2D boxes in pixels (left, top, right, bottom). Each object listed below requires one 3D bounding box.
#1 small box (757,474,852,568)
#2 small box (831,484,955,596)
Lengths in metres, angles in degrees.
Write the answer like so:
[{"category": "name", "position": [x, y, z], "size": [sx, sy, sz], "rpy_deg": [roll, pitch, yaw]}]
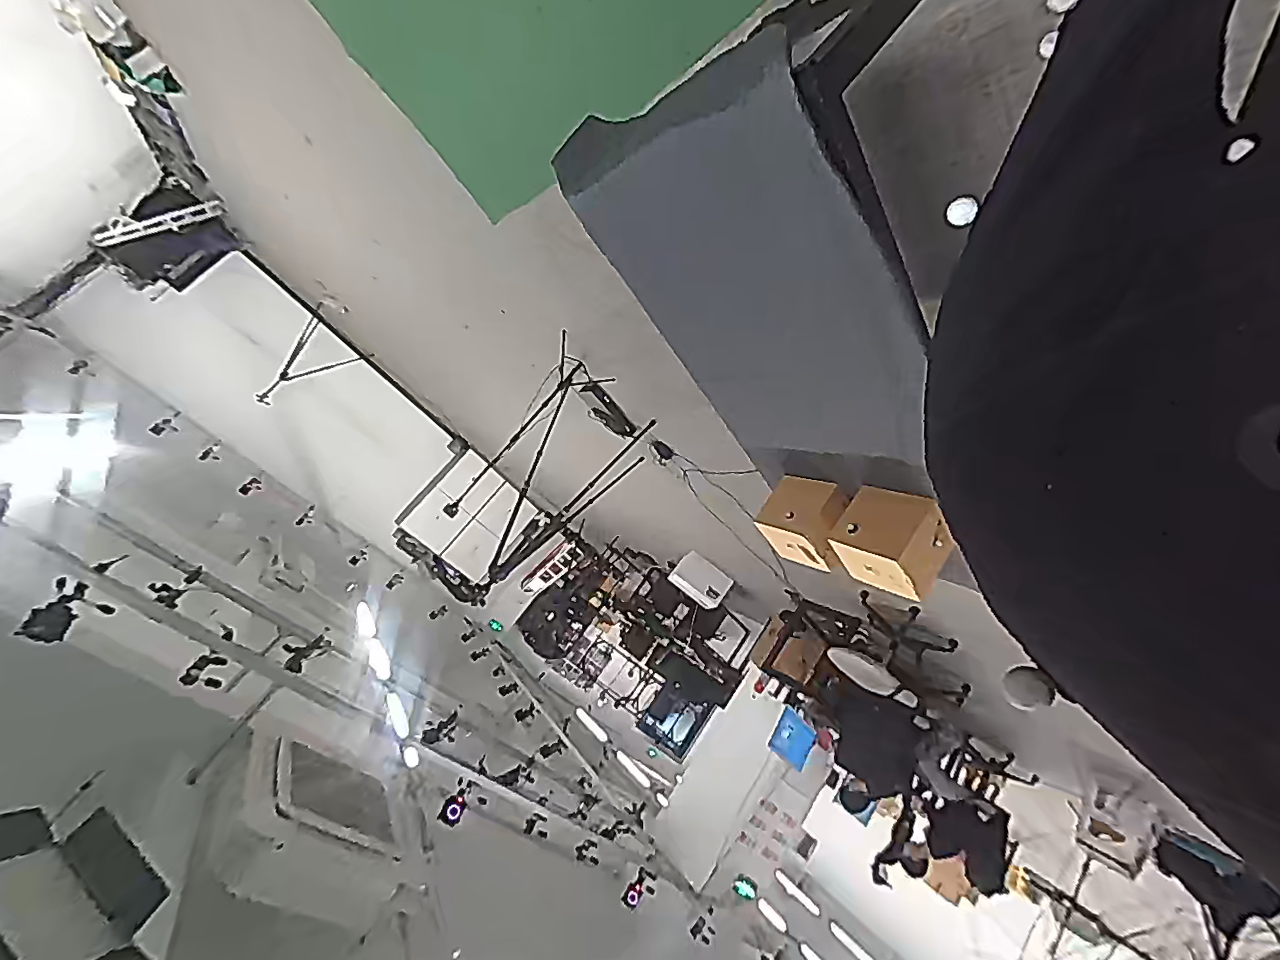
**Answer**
[{"category": "small box", "position": [0.450, 0.102, 1.429], "size": [0.168, 0.176, 0.179], "rpy_deg": [47, 162, -30]}, {"category": "small box", "position": [0.576, 0.129, 1.231], "size": [0.168, 0.176, 0.179], "rpy_deg": [48, 162, -32]}]
